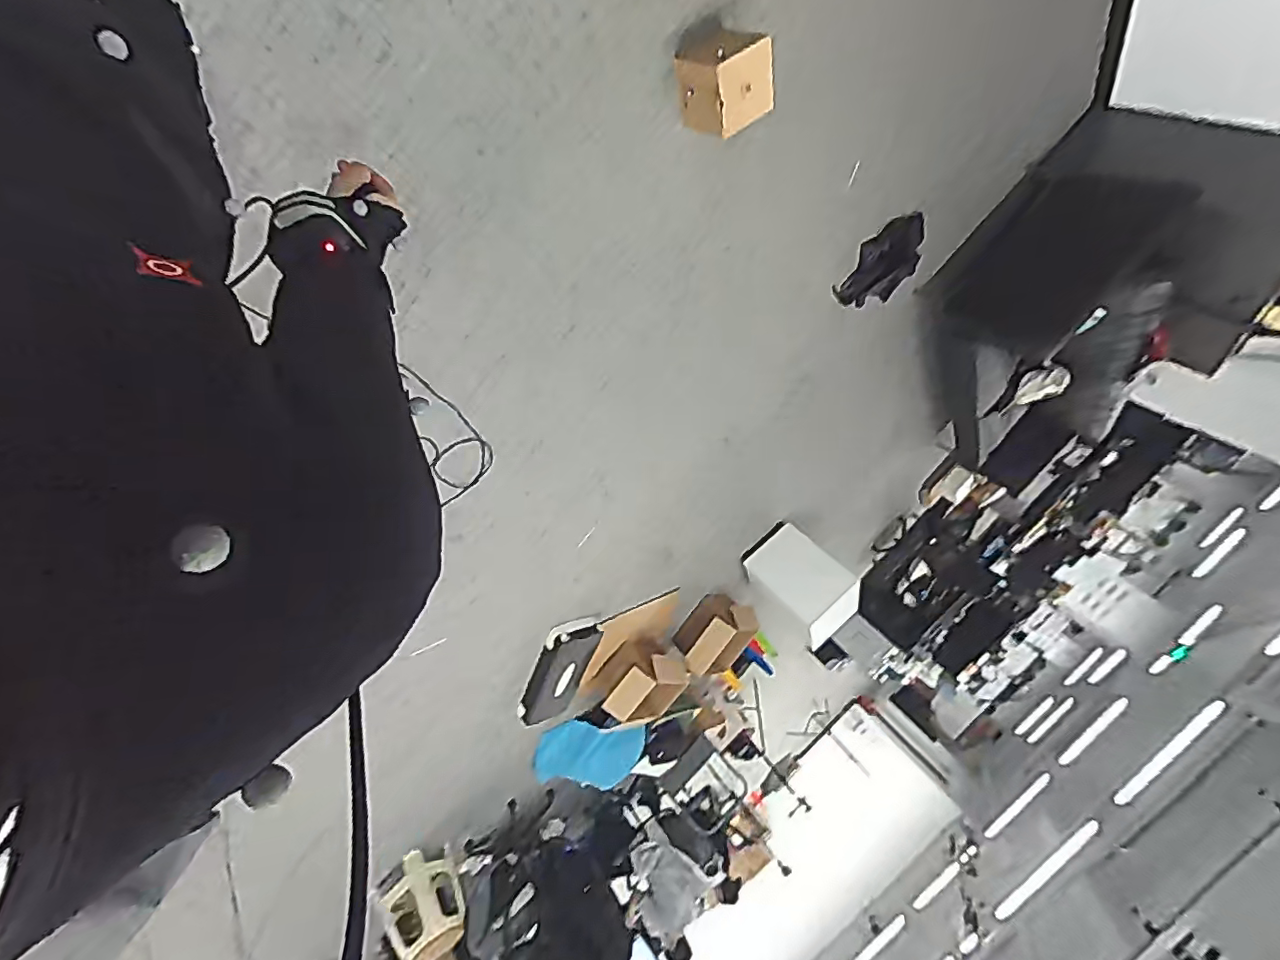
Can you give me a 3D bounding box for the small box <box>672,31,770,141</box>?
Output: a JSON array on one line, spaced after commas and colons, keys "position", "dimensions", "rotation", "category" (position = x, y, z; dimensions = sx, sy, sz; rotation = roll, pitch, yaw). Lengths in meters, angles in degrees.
[{"position": [0.209, -1.014, 1.385], "dimensions": [0.179, 0.176, 0.168], "rotation": [-38, 145, -11], "category": "small box"}]
